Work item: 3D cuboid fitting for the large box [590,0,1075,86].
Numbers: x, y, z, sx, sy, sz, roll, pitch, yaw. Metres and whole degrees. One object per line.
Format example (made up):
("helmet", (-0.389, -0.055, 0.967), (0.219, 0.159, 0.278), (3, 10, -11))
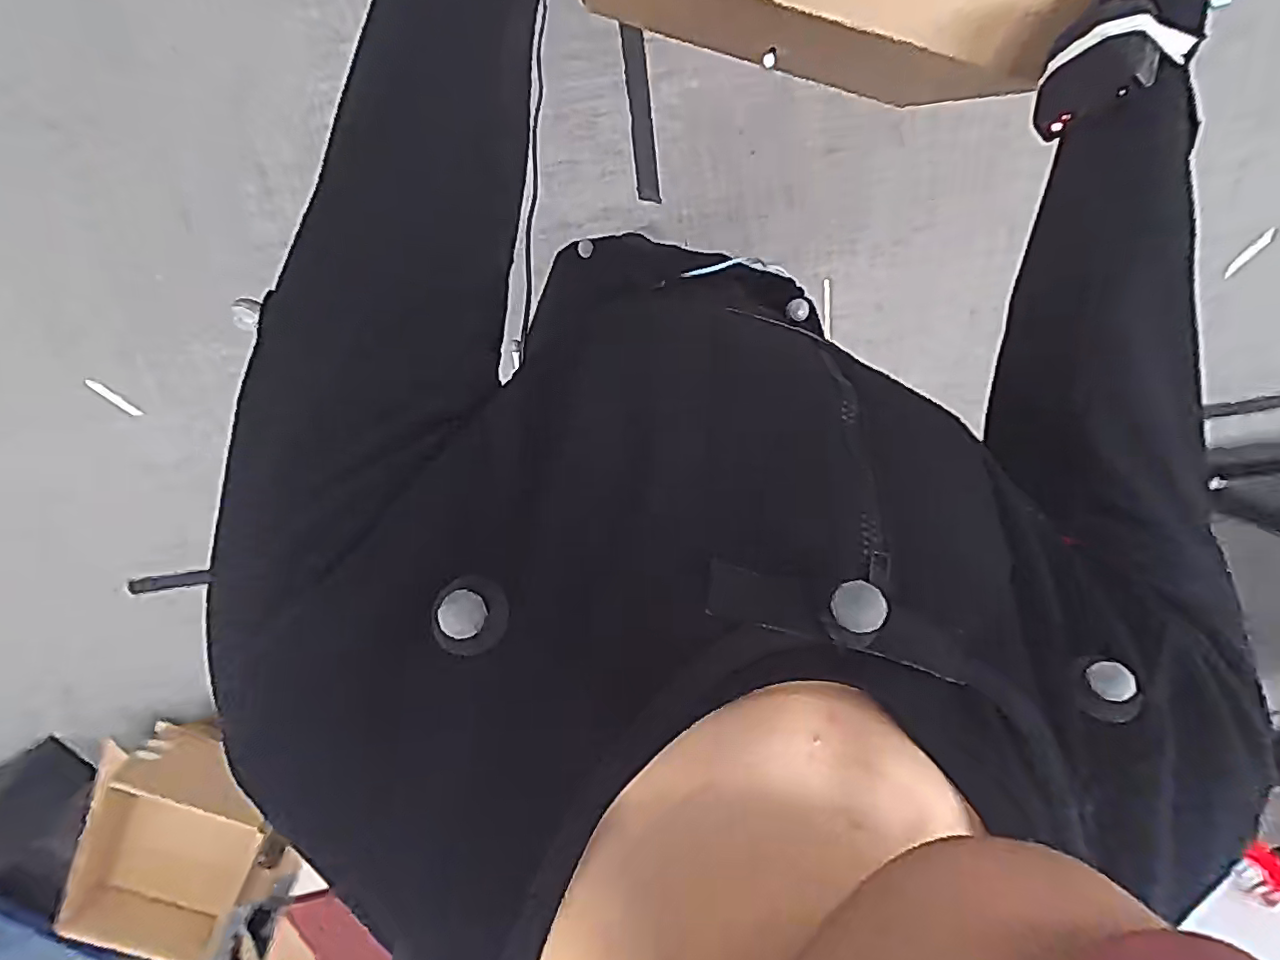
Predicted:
("large box", (0.158, -0.563, 0.447), (0.408, 0.320, 0.320), (12, 121, -5))
